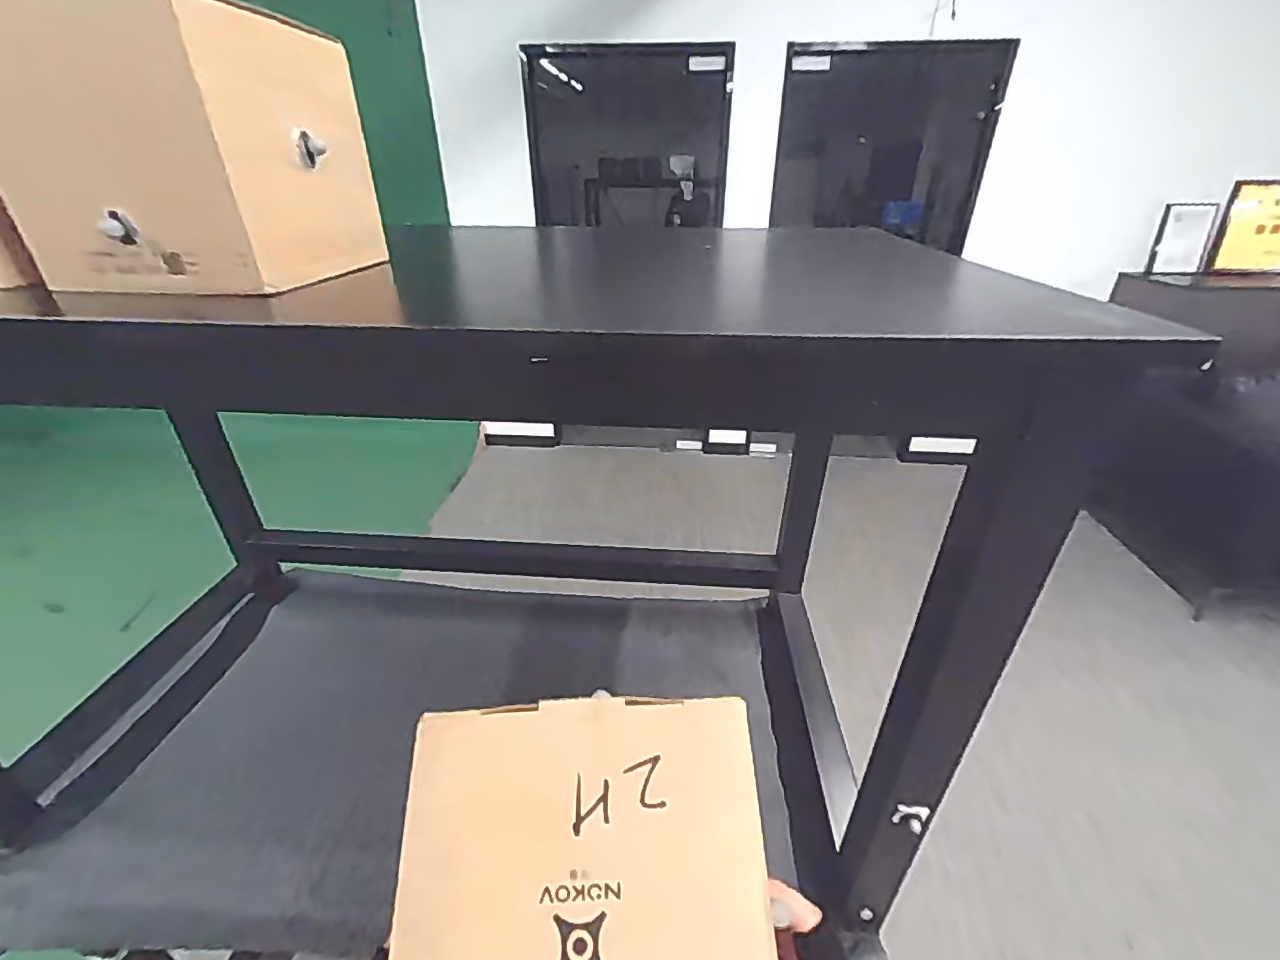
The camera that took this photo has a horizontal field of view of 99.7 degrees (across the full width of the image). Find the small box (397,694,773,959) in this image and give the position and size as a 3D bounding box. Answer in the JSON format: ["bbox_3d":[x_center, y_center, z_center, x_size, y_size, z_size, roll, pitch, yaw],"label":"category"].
[{"bbox_3d":[-0.022,0.224,0.312,0.168,0.176,0.179,-3,64,0],"label":"small box"}]
